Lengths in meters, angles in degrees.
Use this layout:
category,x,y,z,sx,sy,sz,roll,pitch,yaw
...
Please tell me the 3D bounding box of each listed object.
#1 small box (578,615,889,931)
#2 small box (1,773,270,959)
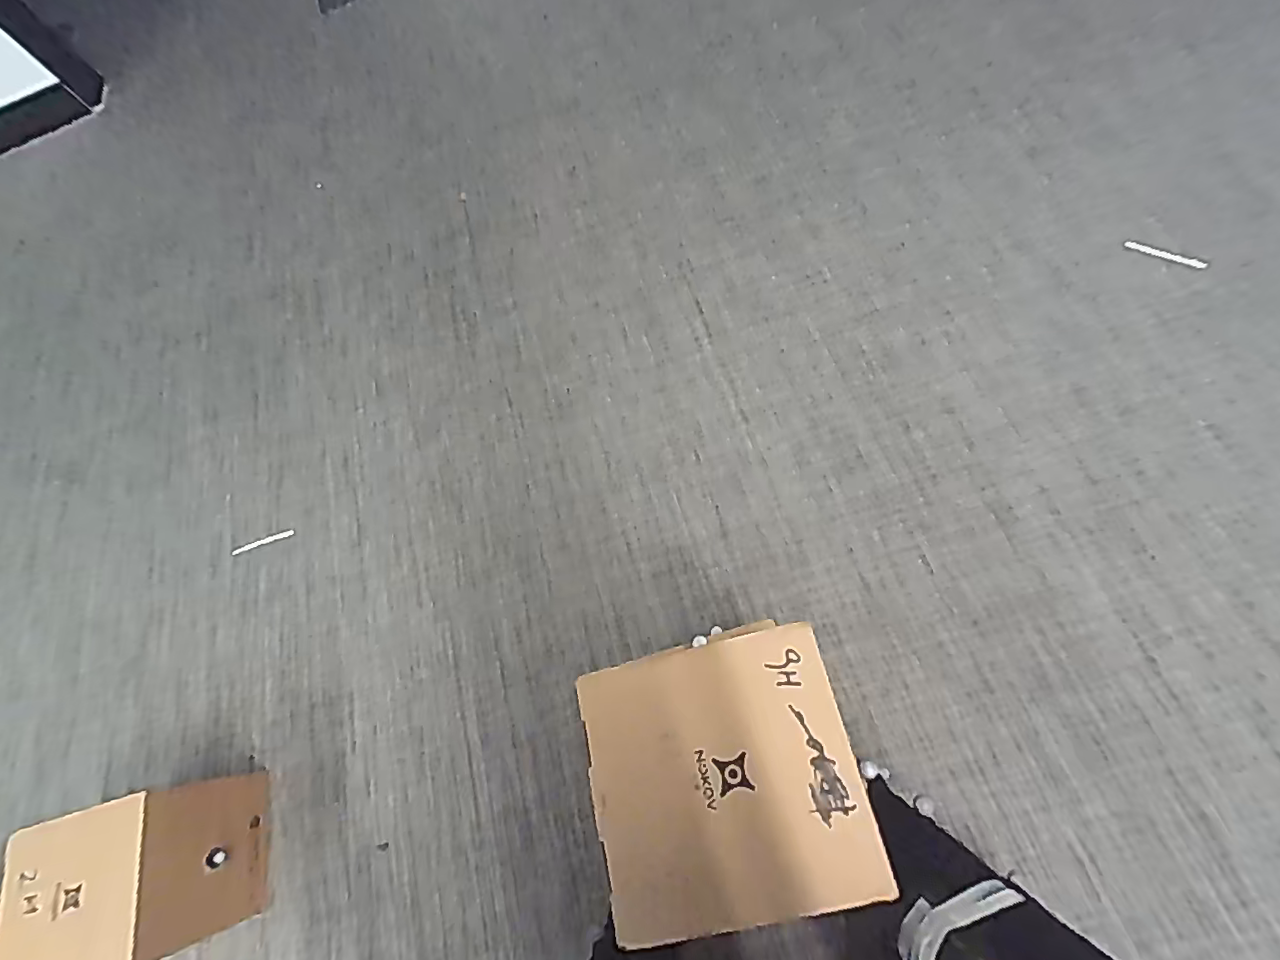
category,x,y,z,sx,sy,sz,roll,pitch,yaw
small box,0.068,0.218,0.435,0.179,0.176,0.168,-16,68,6
small box,-0.582,0.469,0.649,0.179,0.176,0.168,-19,66,4
